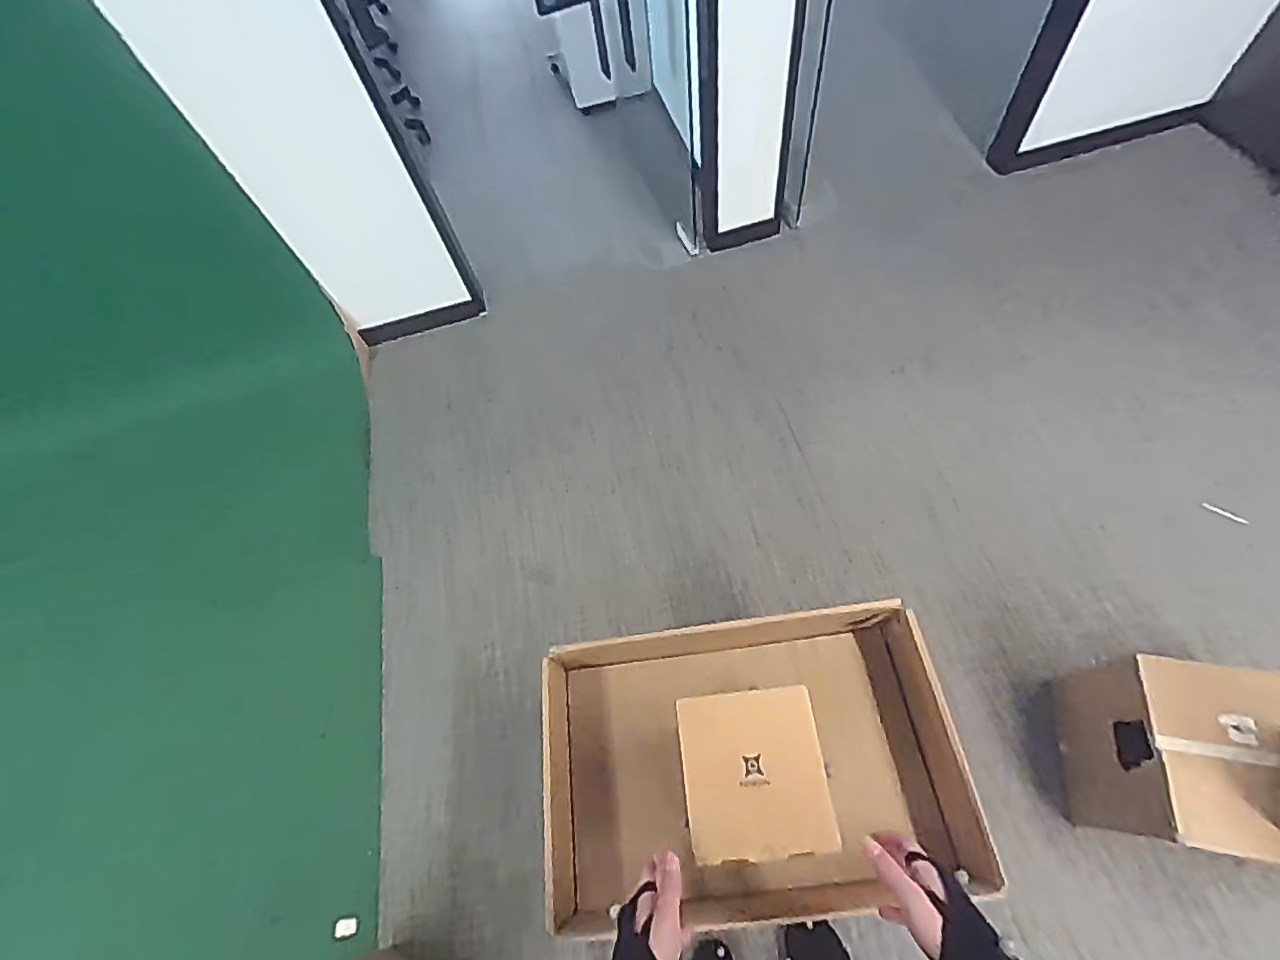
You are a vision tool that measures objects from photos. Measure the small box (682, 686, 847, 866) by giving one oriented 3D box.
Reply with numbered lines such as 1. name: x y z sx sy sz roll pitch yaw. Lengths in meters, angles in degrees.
1. small box: 0.147 0.376 0.697 0.168 0.176 0.179 -8 61 4

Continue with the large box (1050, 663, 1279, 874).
1. large box: 1.119 0.567 1.050 0.408 0.320 0.320 6 61 12
